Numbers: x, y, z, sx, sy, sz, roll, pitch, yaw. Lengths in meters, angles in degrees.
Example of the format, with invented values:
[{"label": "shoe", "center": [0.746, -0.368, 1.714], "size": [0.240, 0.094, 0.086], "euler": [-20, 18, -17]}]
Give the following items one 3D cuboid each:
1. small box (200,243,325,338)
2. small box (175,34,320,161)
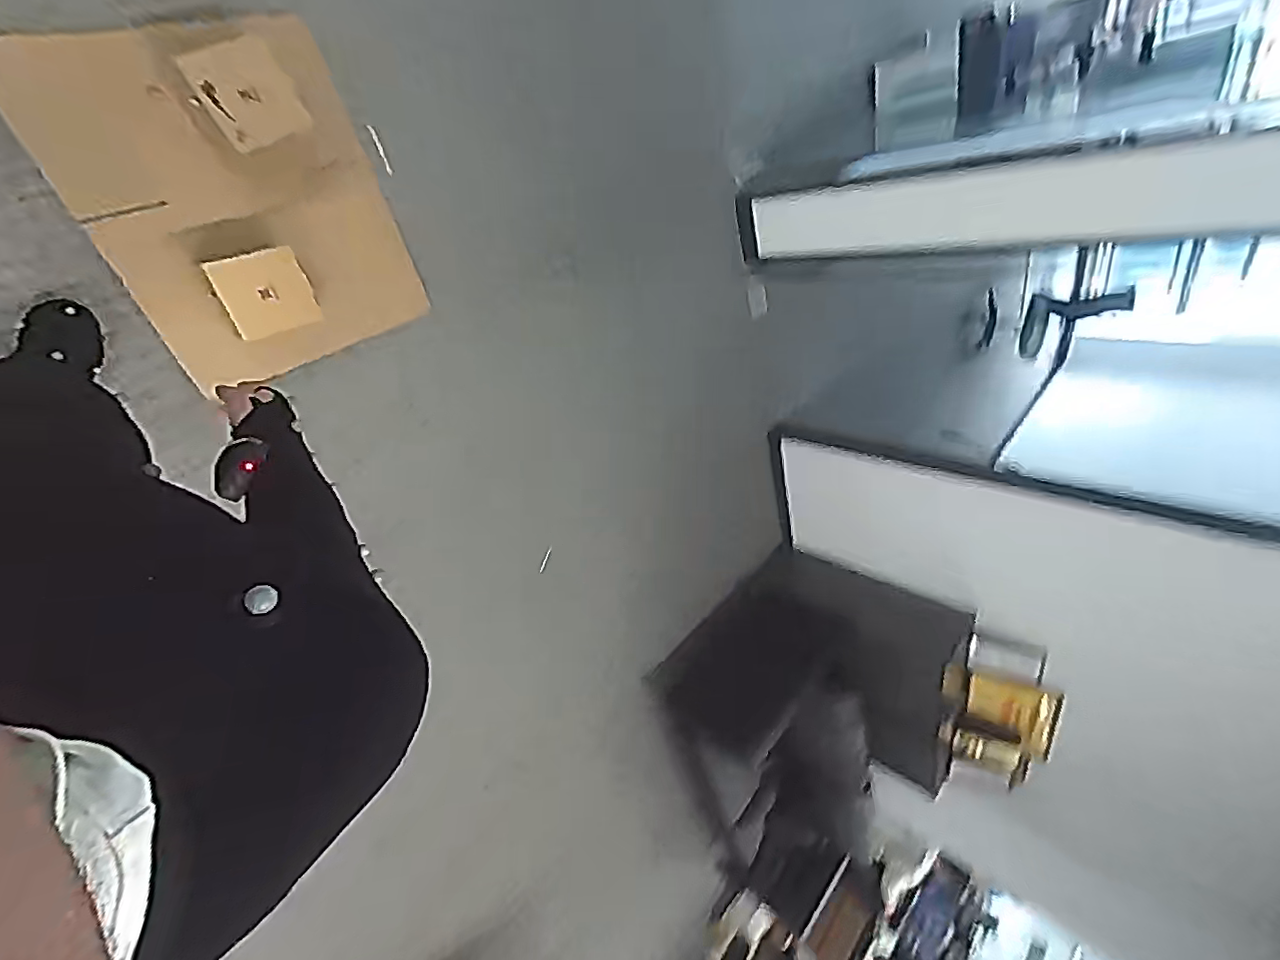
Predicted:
[{"label": "small box", "center": [-0.861, -0.431, 1.230], "size": [0.179, 0.176, 0.168], "euler": [-33, 126, -33]}, {"label": "small box", "center": [-0.824, -0.794, 1.134], "size": [0.179, 0.176, 0.168], "euler": [-43, 131, -26]}]
